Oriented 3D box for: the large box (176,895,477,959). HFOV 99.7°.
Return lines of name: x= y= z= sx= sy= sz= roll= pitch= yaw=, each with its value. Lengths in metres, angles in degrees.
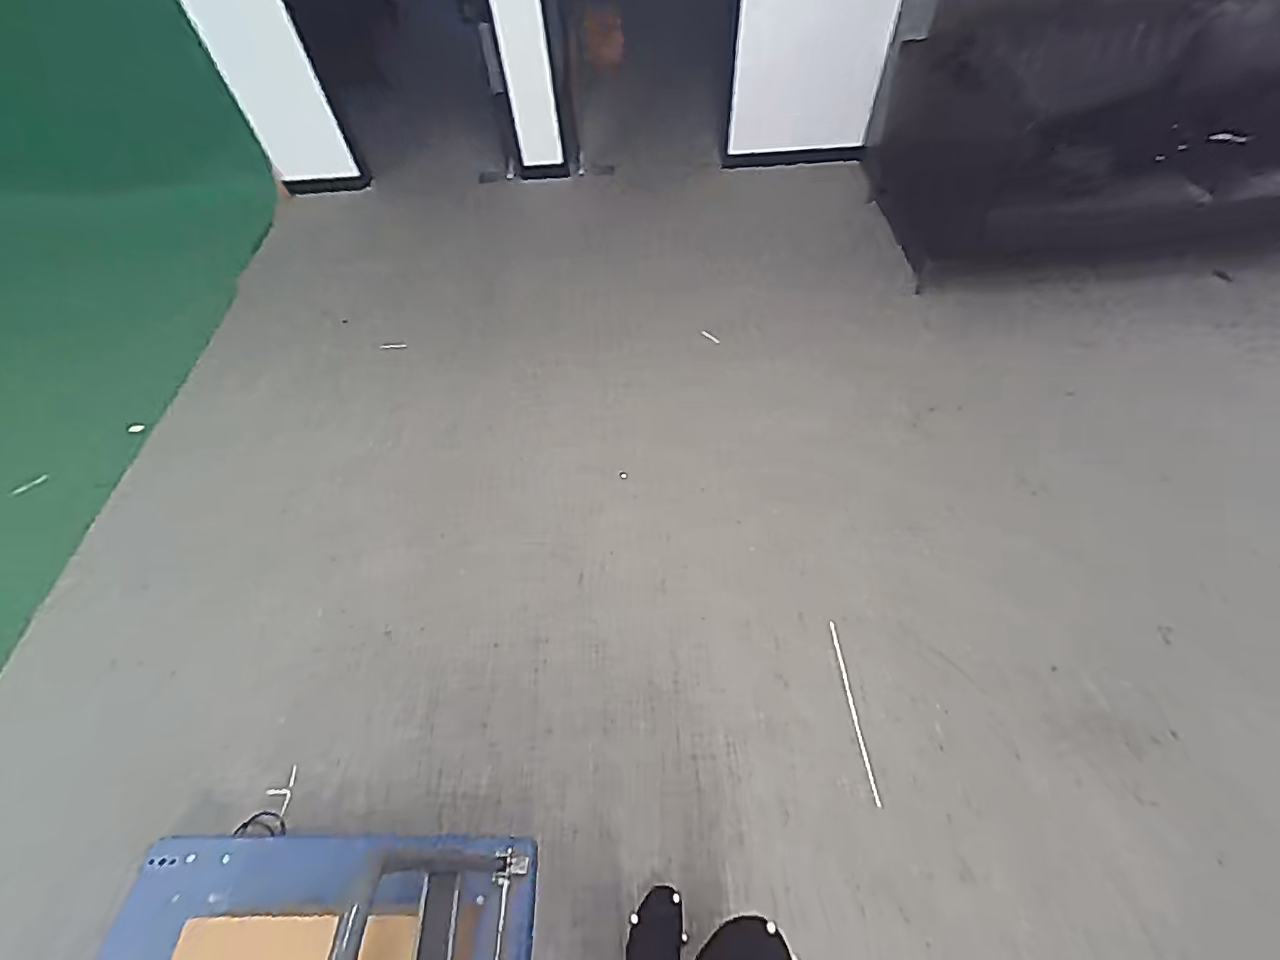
large box: x=-0.536 y=0.923 z=0.929 sx=0.408 sy=0.320 sz=0.320 roll=-2 pitch=55 yaw=2
